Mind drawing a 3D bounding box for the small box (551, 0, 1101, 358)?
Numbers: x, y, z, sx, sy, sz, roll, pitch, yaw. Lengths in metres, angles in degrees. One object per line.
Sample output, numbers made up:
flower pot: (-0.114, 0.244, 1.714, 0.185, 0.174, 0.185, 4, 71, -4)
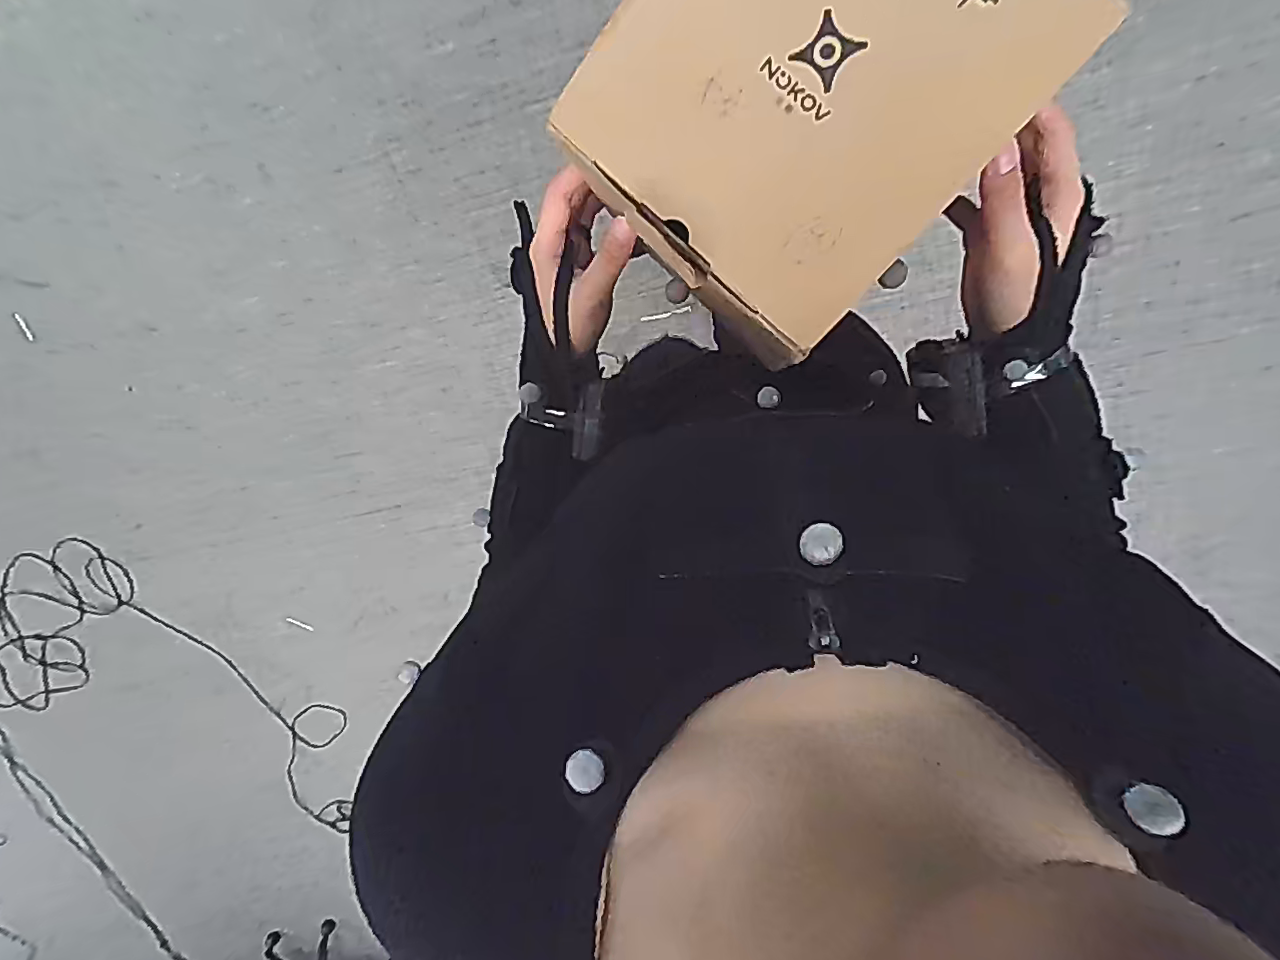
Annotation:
small box: (0.086, -0.188, 0.314, 0.168, 0.176, 0.179, 43, 104, 1)
